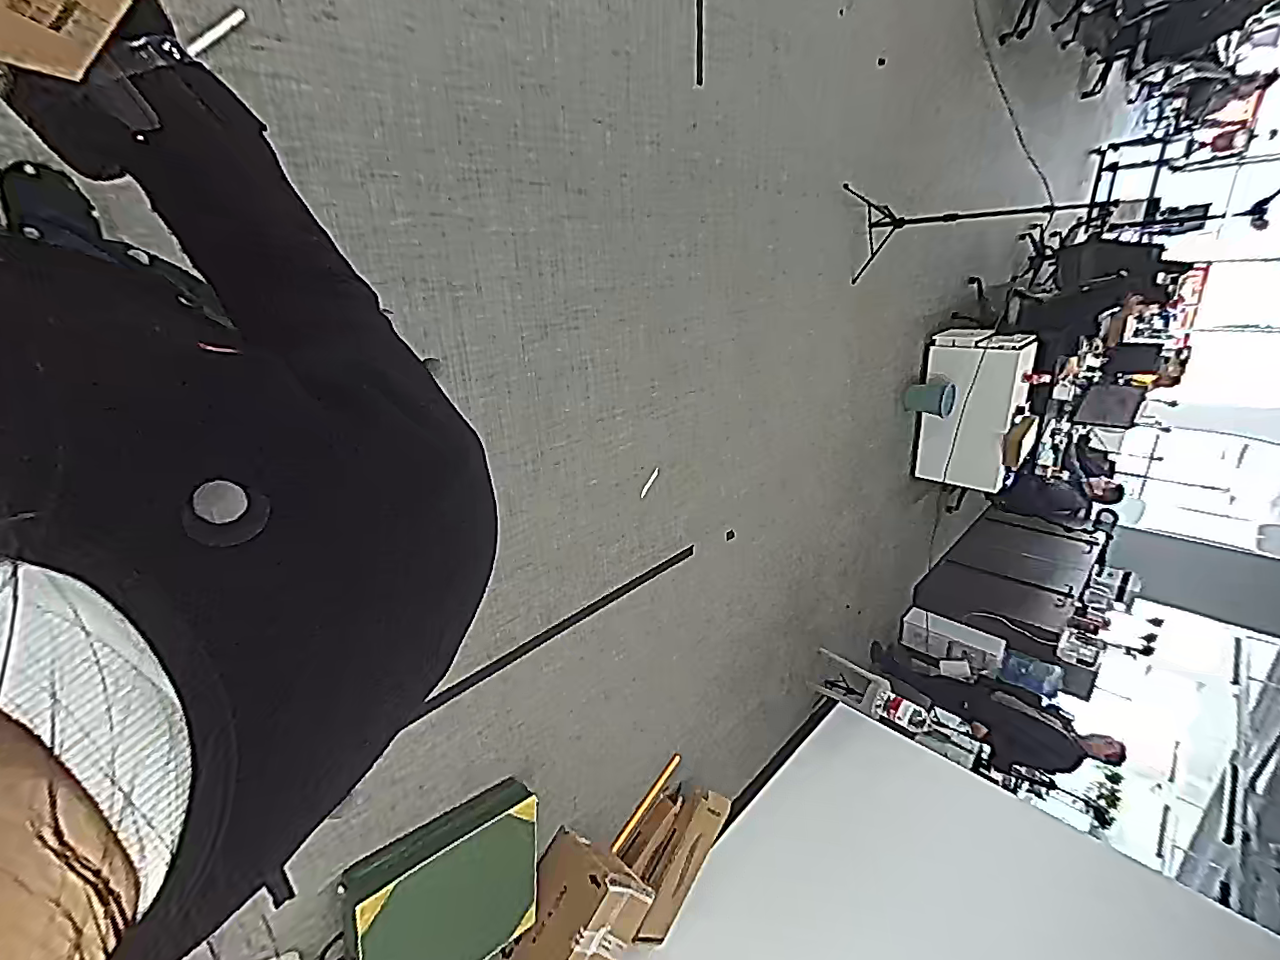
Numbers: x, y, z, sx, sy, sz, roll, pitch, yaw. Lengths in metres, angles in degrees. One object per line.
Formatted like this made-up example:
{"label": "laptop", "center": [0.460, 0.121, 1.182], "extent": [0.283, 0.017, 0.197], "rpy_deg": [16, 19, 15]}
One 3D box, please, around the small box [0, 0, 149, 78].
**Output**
{"label": "small box", "center": [-0.228, -0.251, 0.139], "extent": [0.176, 0.168, 0.179], "rpy_deg": [-50, 130, 4]}
